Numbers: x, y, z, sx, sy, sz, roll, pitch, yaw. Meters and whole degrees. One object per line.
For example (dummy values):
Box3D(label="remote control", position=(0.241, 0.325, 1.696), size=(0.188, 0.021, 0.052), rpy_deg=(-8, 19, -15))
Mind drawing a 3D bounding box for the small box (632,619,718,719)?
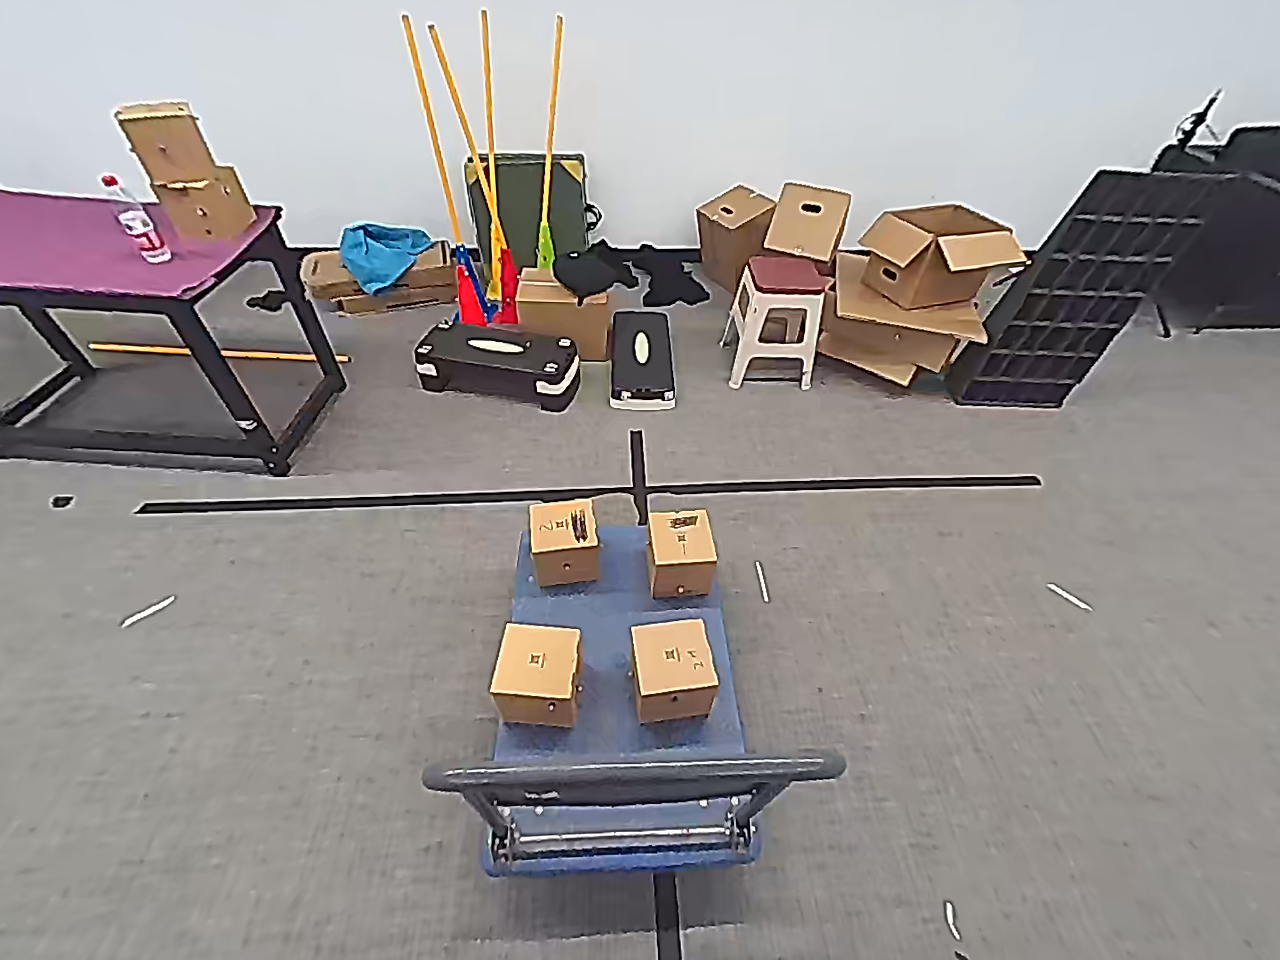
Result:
Box3D(label="small box", position=(0.075, 0.453, 1.287), size=(0.179, 0.176, 0.168), rpy_deg=(-4, 47, -7))

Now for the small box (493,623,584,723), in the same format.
Box3D(label="small box", position=(-0.229, 0.455, 1.268), size=(0.179, 0.176, 0.168), rpy_deg=(5, 46, 0))

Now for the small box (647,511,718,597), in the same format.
Box3D(label="small box", position=(0.113, 0.208, 1.518), size=(0.168, 0.176, 0.179), rpy_deg=(-3, 48, -5))
